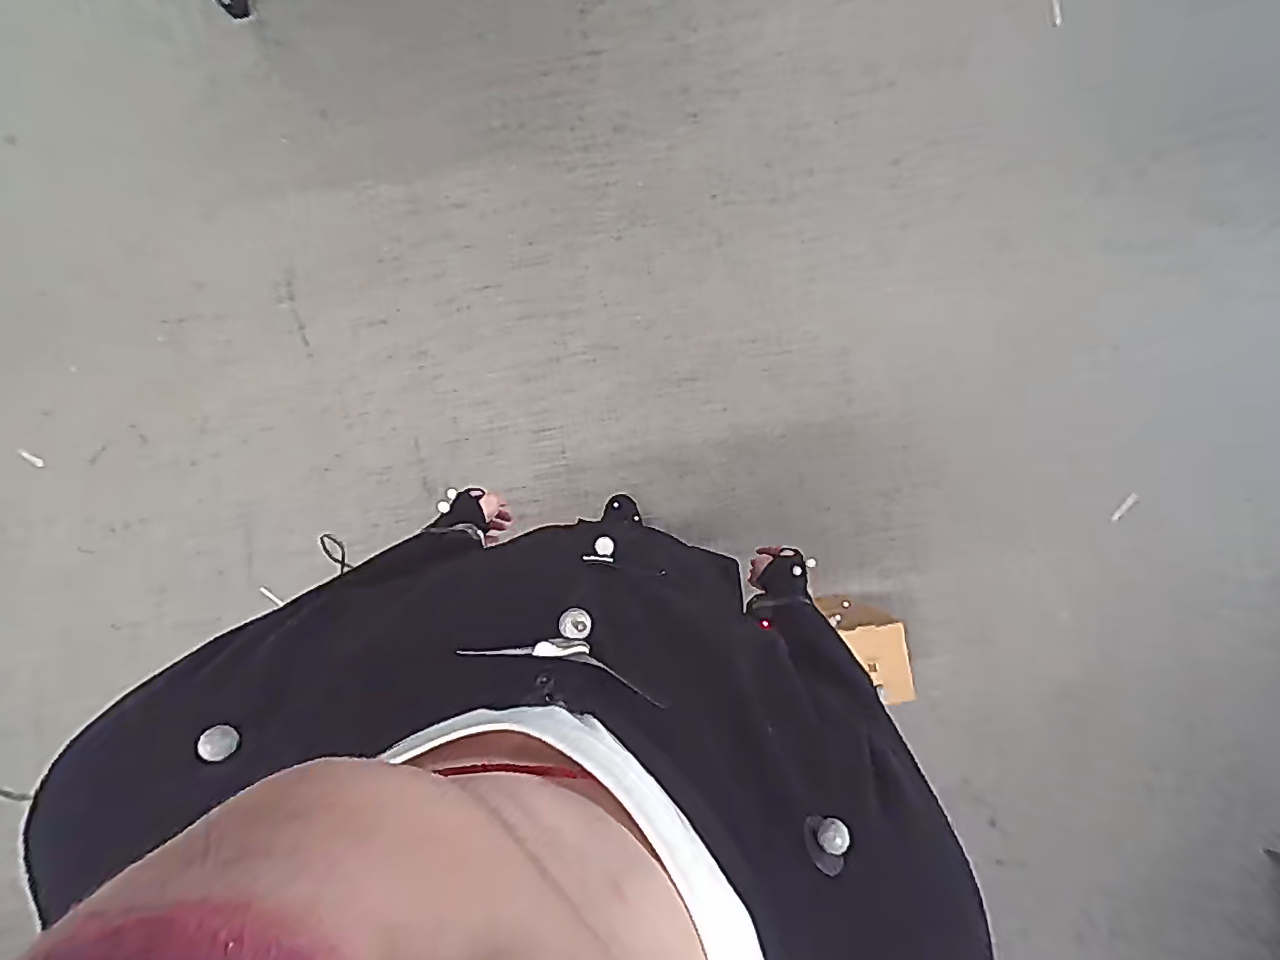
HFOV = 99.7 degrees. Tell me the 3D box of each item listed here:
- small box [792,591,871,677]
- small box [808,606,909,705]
[{"bbox_3d":[0.519,0.410,1.458,0.168,0.176,0.179,-7,89,1],"label":"small box"},{"bbox_3d":[0.515,0.410,1.296,0.168,0.176,0.179,-9,90,2],"label":"small box"}]
